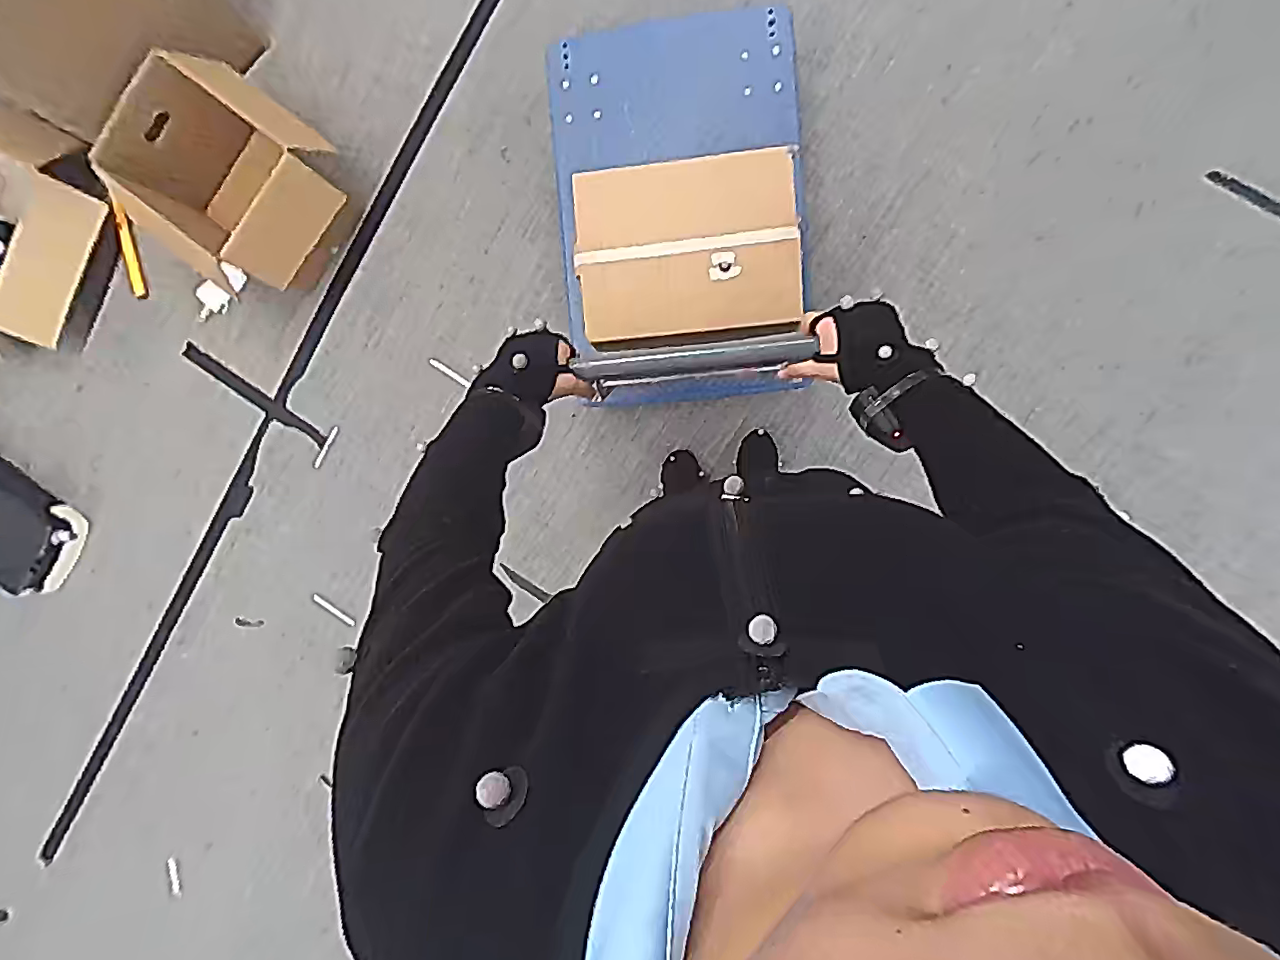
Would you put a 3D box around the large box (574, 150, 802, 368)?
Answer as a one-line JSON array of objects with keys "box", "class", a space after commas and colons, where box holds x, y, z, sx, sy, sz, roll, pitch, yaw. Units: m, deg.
[{"box": [0.097, -0.434, 1.146, 0.408, 0.320, 0.320, -5, 94, 5], "class": "large box"}]
